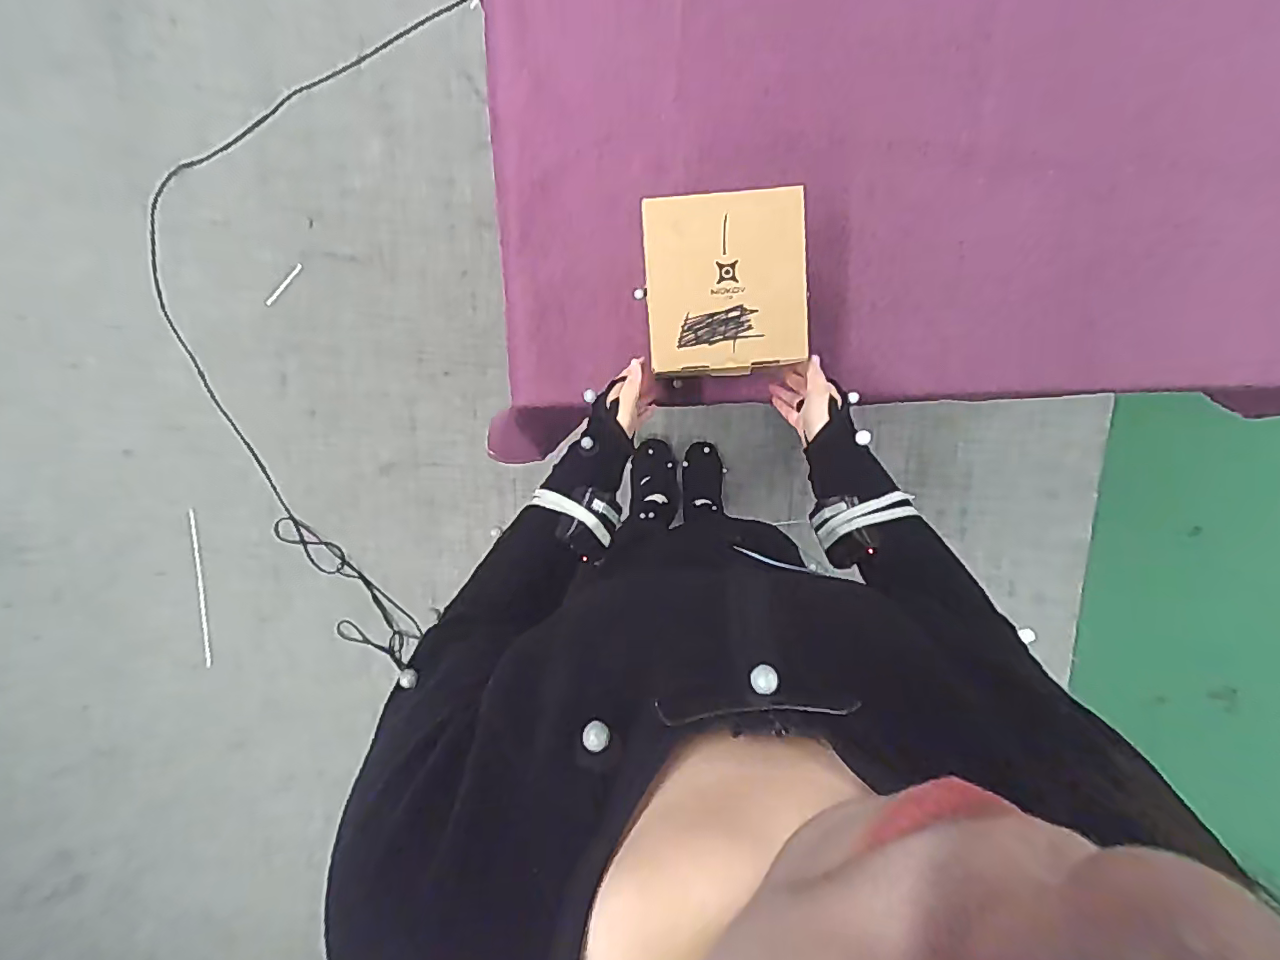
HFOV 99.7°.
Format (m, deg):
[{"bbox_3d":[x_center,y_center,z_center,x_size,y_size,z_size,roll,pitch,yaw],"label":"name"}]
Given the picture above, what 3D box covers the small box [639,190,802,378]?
[{"bbox_3d":[0.088,-0.213,0.637,0.168,0.176,0.179,-4,97,2],"label":"small box"}]
